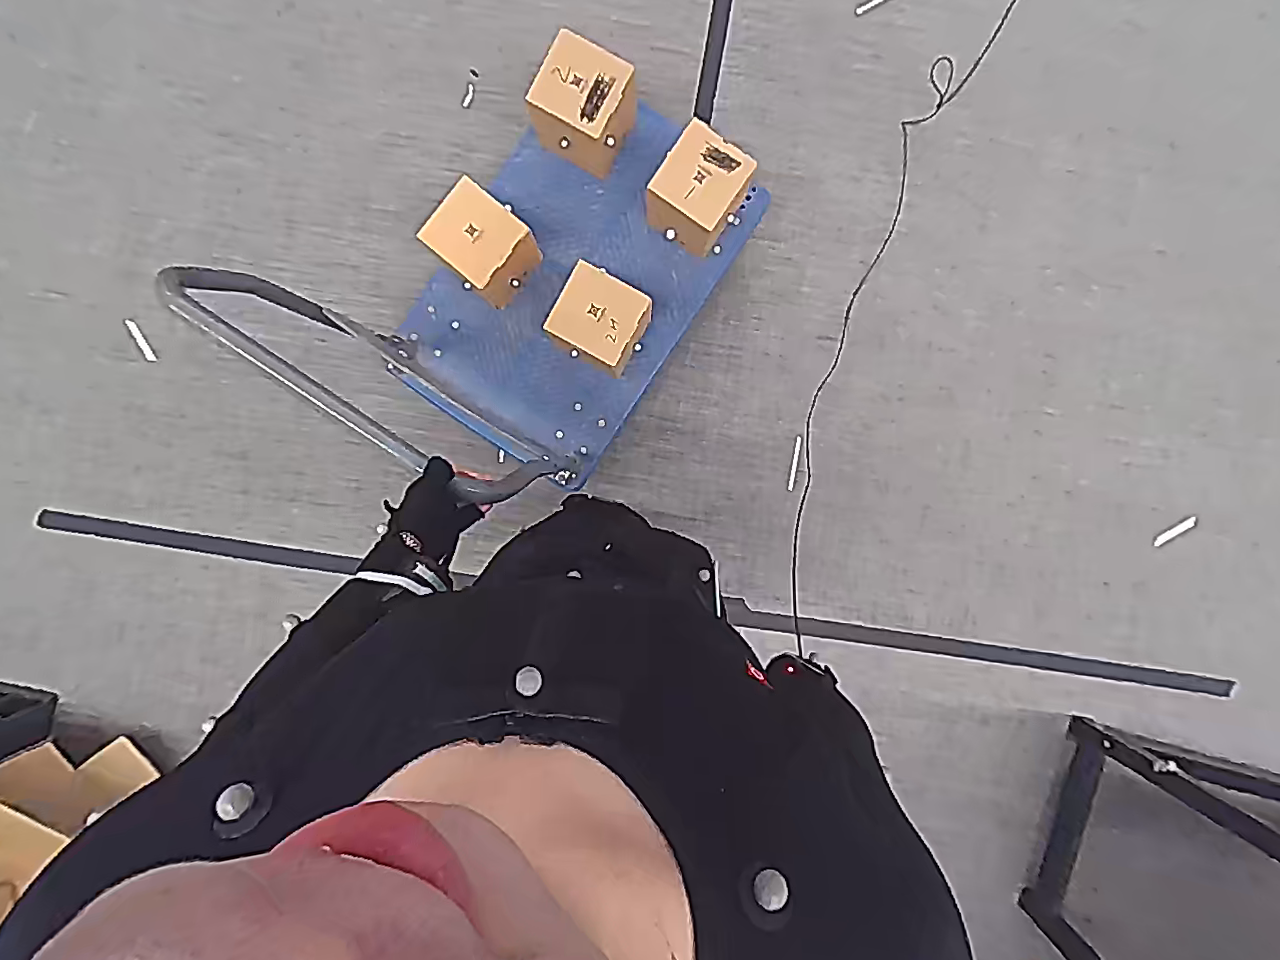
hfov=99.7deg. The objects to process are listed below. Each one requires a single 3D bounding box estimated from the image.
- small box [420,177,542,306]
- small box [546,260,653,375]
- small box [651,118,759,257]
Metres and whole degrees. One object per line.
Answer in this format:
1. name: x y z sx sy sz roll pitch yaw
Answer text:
1. small box: -0.344 -0.518 1.204 0.179 0.176 0.168 39 92 -3
2. small box: -0.085 -0.352 1.210 0.179 0.176 0.168 29 92 -1
3. small box: 0.134 -0.636 1.198 0.168 0.176 0.179 35 93 -1
